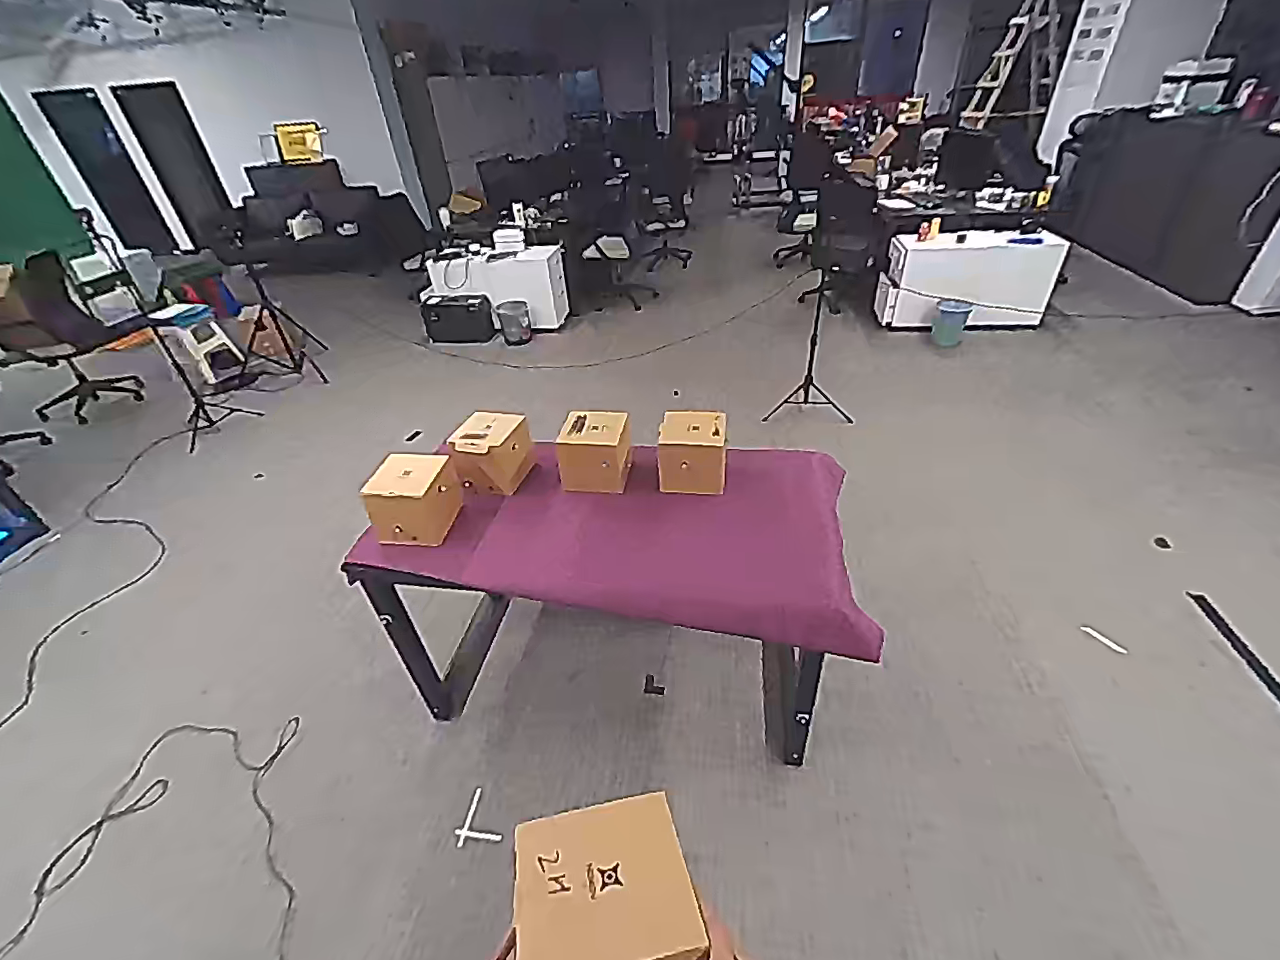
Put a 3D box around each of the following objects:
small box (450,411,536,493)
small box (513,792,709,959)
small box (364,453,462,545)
[{"bbox_3d":[-0.420,-0.082,1.579,0.168,0.176,0.179,7,38,14],"label":"small box"},{"bbox_3d":[-0.035,0.474,0.567,0.179,0.176,0.168,-7,19,-10],"label":"small box"},{"bbox_3d":[-0.583,0.047,1.419,0.168,0.176,0.179,2,38,6],"label":"small box"}]
